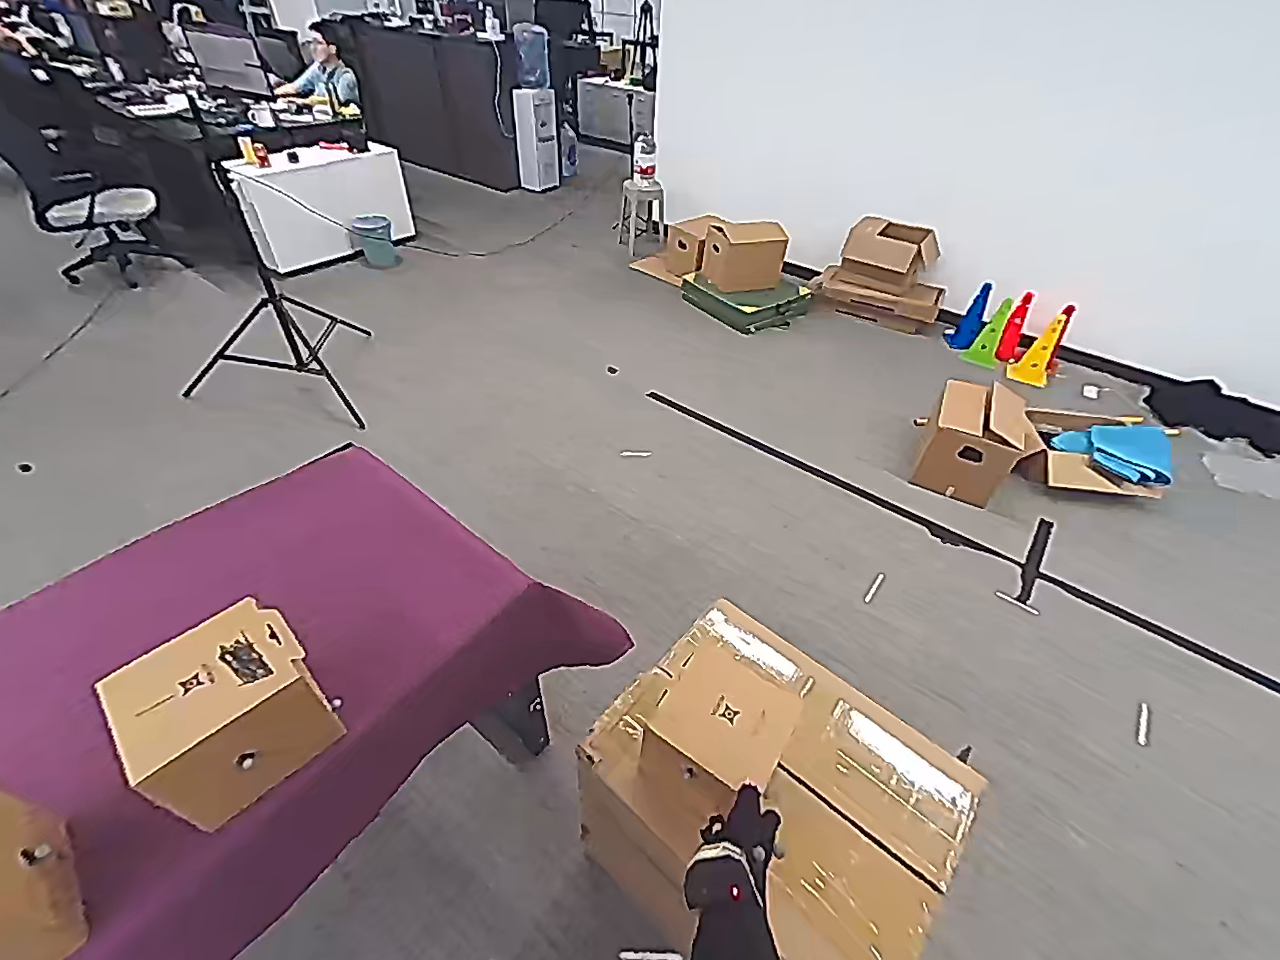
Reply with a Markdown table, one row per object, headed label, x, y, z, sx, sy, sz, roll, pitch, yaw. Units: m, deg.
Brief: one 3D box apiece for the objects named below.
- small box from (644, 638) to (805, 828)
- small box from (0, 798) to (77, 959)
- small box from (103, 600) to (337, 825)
| label | x | y | z | sx | sy | sz | roll | pitch | yaw |
| --- | --- | --- | --- | --- | --- | --- | --- | --- | --- |
| small box | 0.118 | 0.382 | 0.814 | 0.179 | 0.176 | 0.168 | 27 | 49 | 22 |
| small box | -0.717 | 0.442 | 0.535 | 0.168 | 0.176 | 0.179 | 35 | 50 | 31 |
| small box | -0.527 | 0.299 | 0.705 | 0.168 | 0.176 | 0.179 | 33 | 51 | 30 |
